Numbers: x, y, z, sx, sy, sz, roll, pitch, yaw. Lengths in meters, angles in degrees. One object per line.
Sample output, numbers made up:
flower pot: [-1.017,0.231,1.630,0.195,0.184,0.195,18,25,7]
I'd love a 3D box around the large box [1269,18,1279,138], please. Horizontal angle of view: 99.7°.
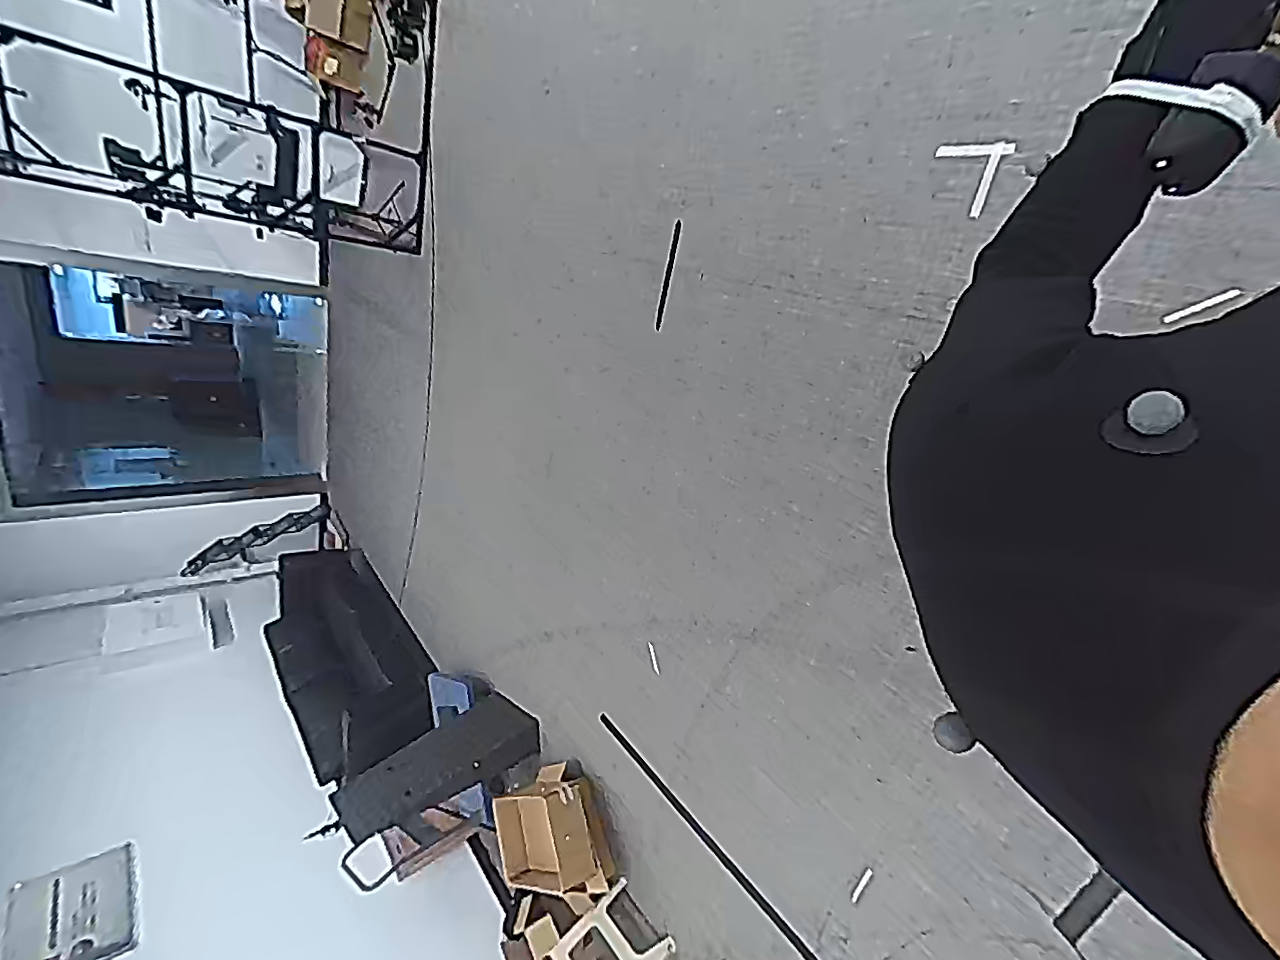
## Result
large box: [0.664,-0.361,0.253,0.408,0.320,0.320,34,127,39]
